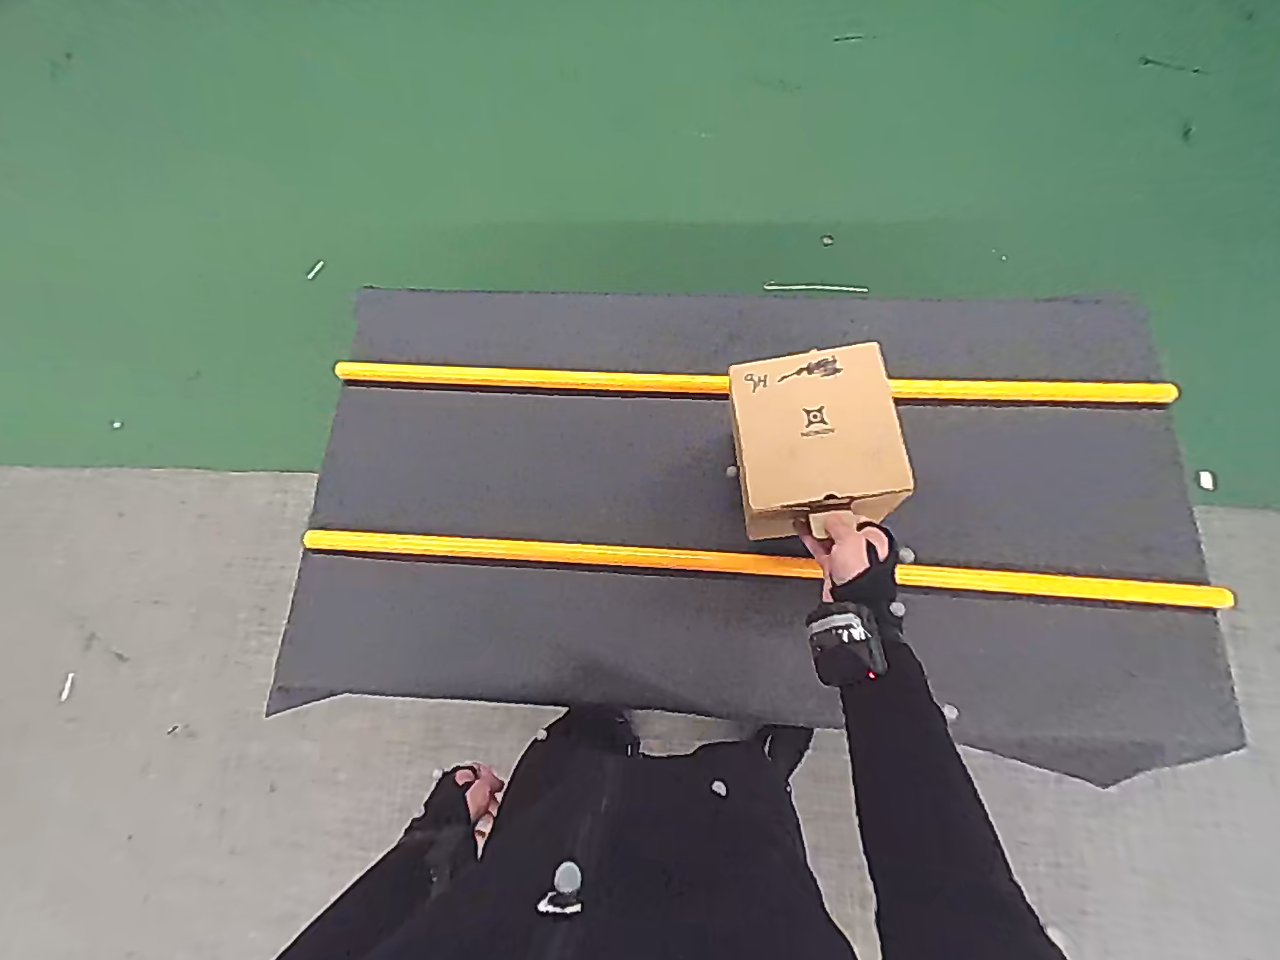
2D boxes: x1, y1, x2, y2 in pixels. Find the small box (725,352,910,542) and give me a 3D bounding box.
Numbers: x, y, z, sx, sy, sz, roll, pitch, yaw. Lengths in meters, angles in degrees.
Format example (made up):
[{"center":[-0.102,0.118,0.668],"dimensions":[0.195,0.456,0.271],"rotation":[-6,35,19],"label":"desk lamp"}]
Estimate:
[{"center":[0.204,-0.025,0.660],"dimensions":[0.168,0.176,0.179],"rotation":[-11,73,9],"label":"small box"}]
